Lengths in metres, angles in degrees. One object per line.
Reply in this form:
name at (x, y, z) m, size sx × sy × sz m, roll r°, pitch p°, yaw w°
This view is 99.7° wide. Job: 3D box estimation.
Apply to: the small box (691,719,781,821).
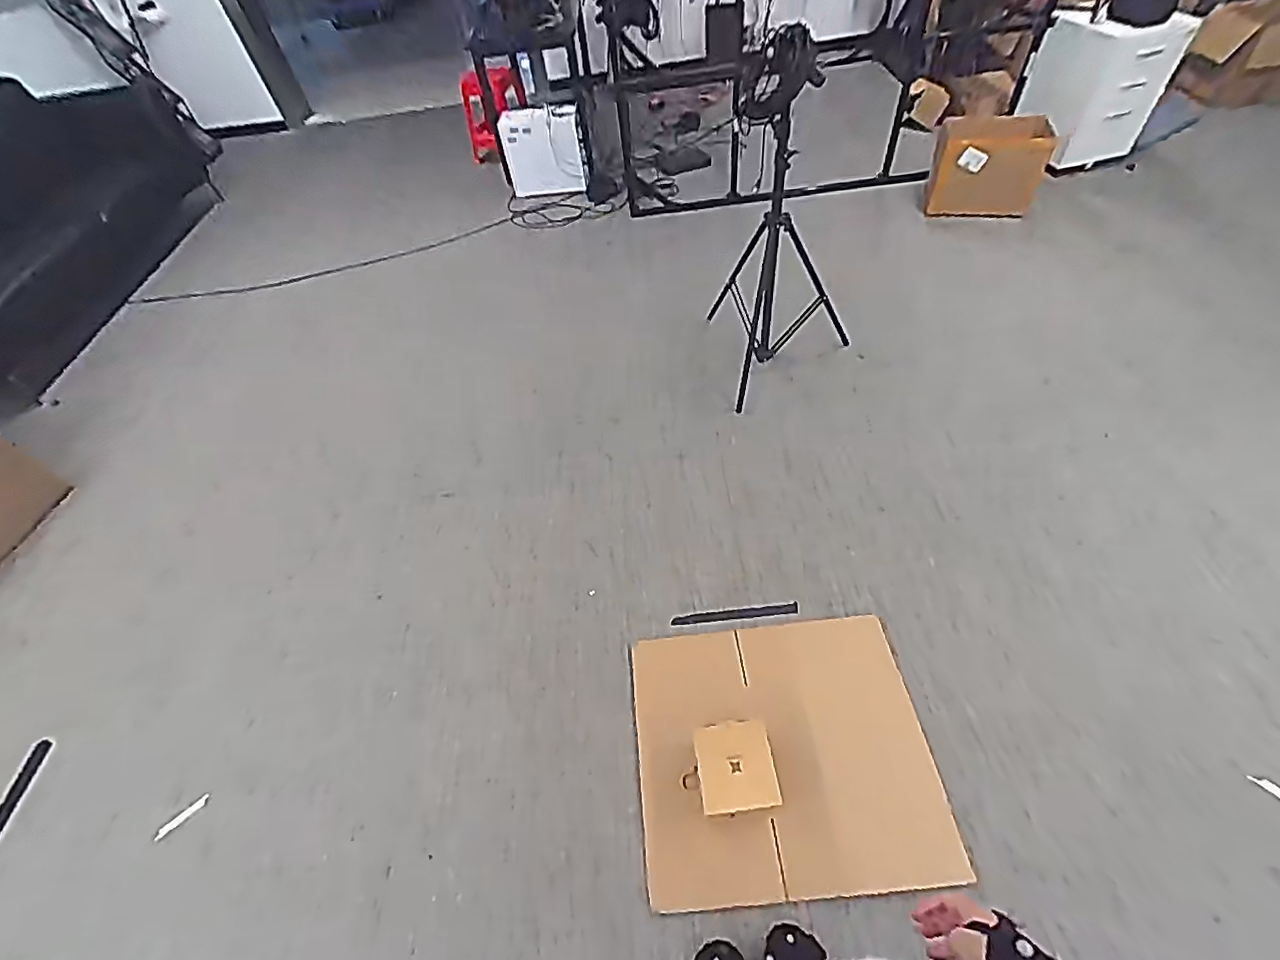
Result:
small box at (0.214, 0.666, 1.233) m, size 0.168 × 0.176 × 0.179 m, roll -8°, pitch 52°, yaw 1°
